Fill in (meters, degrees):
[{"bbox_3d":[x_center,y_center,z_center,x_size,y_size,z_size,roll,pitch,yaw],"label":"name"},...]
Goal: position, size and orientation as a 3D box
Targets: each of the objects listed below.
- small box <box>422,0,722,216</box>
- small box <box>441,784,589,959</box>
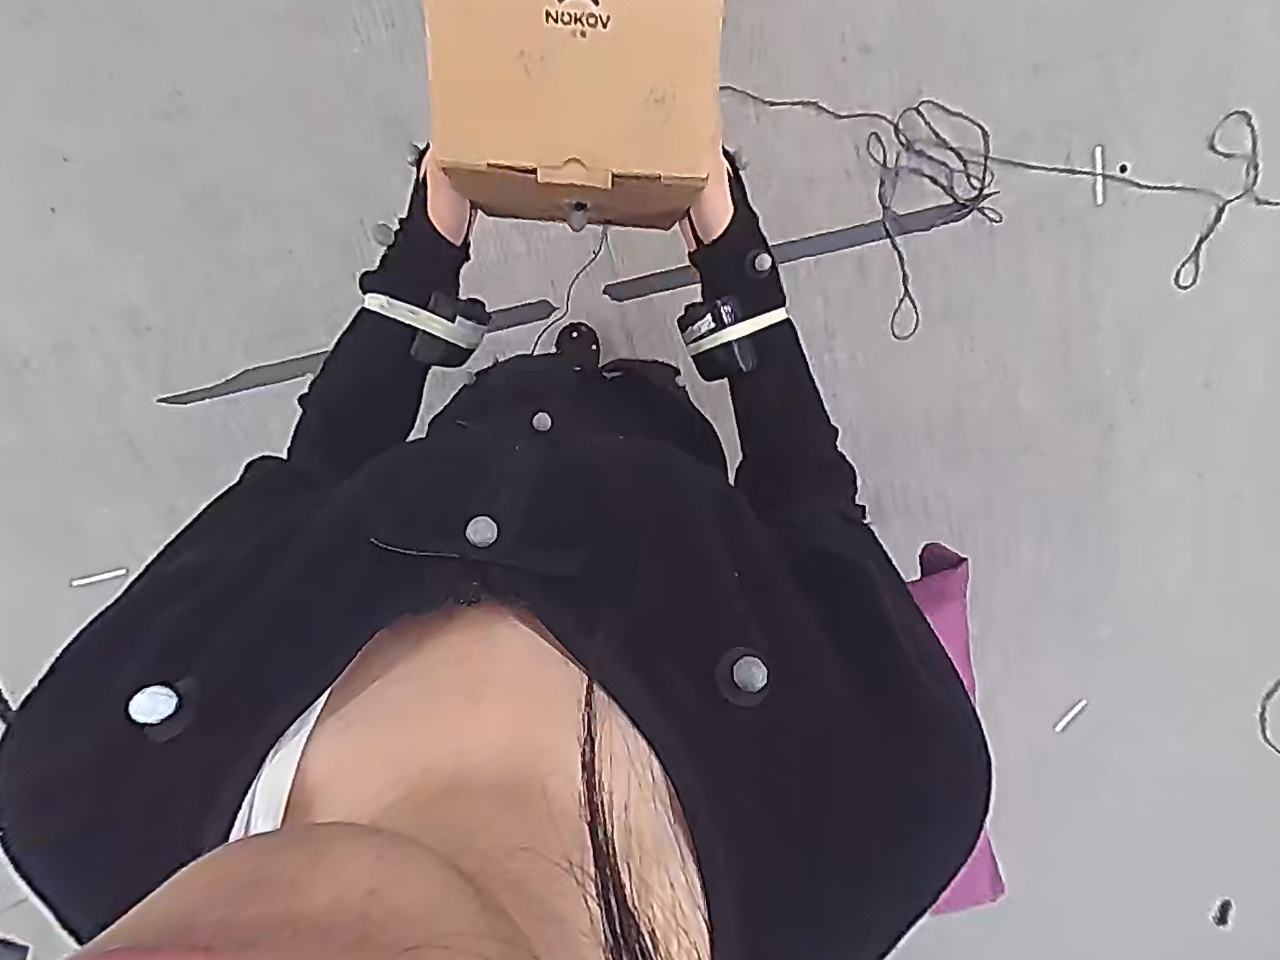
[{"bbox_3d":[-0.042,-0.289,0.369,0.168,0.176,0.179,1,107,-7],"label":"small box"},{"bbox_3d":[-0.173,0.584,0.802,0.168,0.176,0.179,-11,104,-1],"label":"small box"}]
